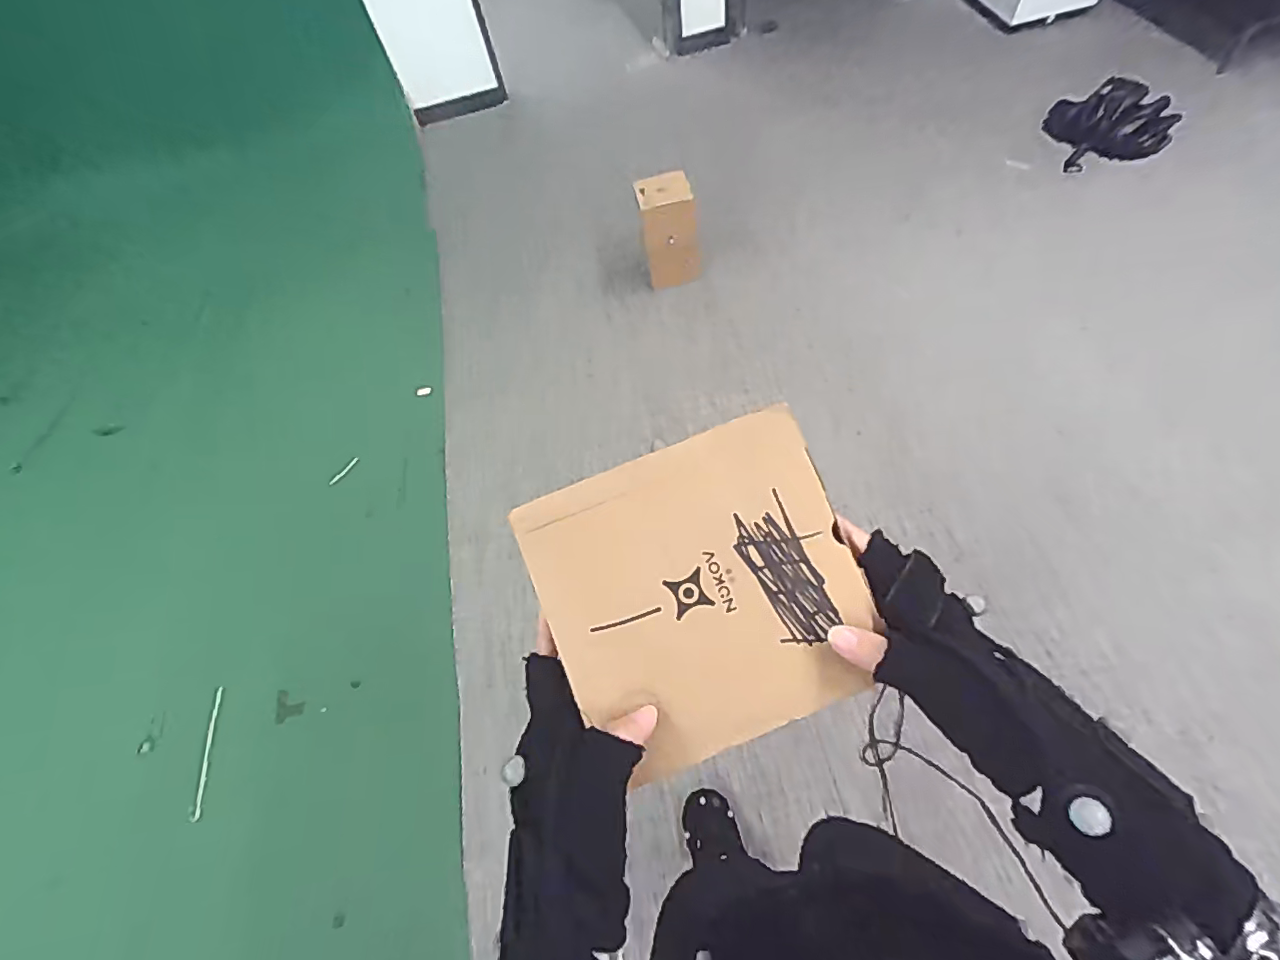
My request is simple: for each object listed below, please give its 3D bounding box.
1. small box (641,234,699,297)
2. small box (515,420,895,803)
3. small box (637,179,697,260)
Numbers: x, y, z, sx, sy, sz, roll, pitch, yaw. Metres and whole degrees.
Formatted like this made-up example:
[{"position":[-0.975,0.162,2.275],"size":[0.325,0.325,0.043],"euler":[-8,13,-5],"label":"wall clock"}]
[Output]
[{"position":[0.113,-0.803,1.976],"size":[0.179,0.176,0.168],"euler":[-16,58,1],"label":"small box"},{"position":[0.033,0.079,0.387],"size":[0.179,0.176,0.168],"euler":[-24,83,-5],"label":"small box"},{"position":[0.093,-0.879,1.833],"size":[0.179,0.176,0.168],"euler":[-12,59,1],"label":"small box"}]
